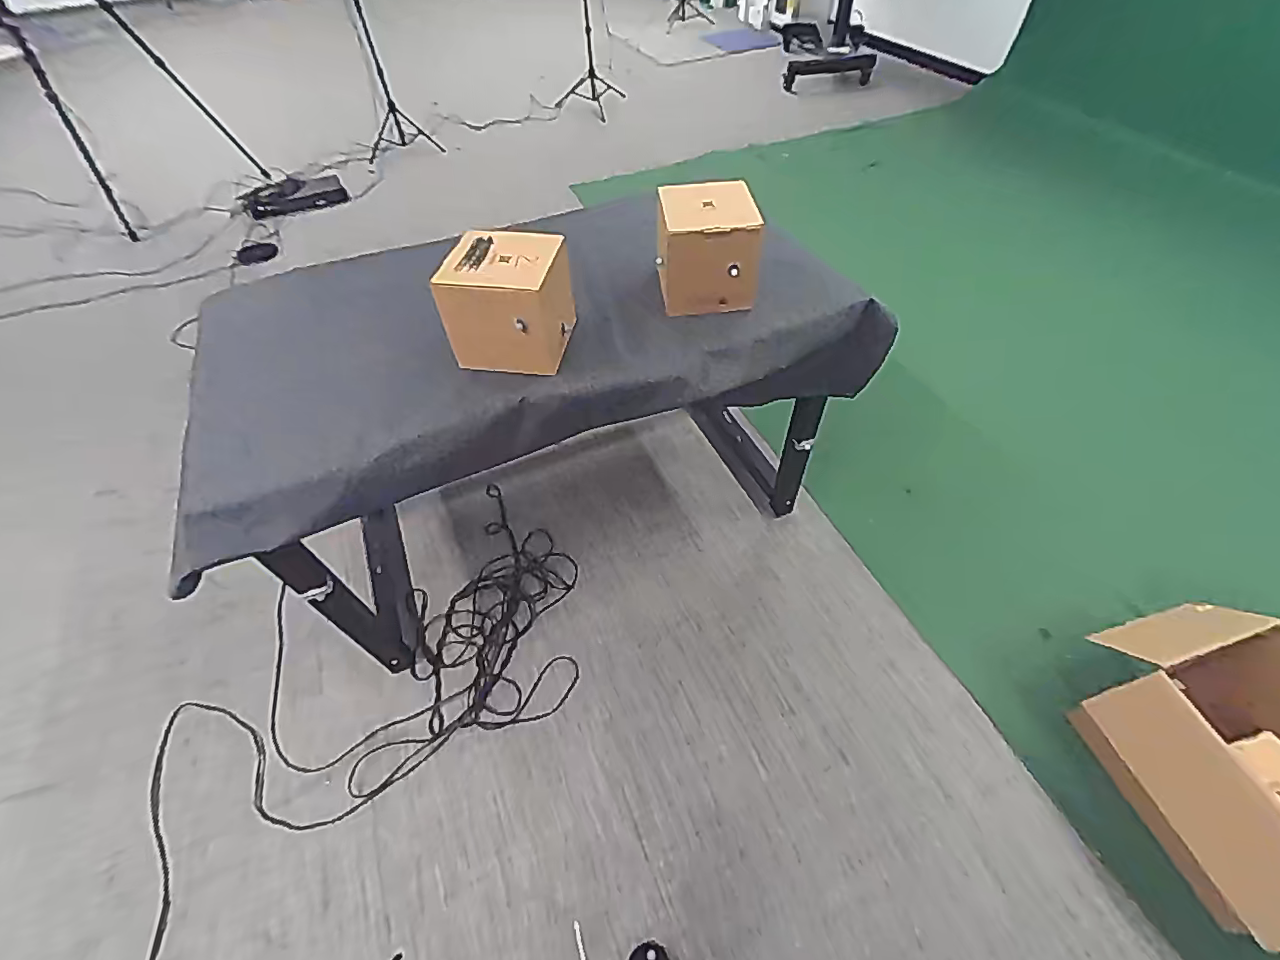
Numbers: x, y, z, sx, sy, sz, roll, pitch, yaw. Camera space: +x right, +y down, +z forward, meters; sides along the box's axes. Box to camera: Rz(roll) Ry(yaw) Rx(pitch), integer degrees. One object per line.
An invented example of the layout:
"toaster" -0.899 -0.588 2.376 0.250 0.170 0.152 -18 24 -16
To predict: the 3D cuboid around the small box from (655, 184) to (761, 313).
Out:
"small box" 0.120 -0.430 1.019 0.168 0.176 0.179 -5 50 -3
